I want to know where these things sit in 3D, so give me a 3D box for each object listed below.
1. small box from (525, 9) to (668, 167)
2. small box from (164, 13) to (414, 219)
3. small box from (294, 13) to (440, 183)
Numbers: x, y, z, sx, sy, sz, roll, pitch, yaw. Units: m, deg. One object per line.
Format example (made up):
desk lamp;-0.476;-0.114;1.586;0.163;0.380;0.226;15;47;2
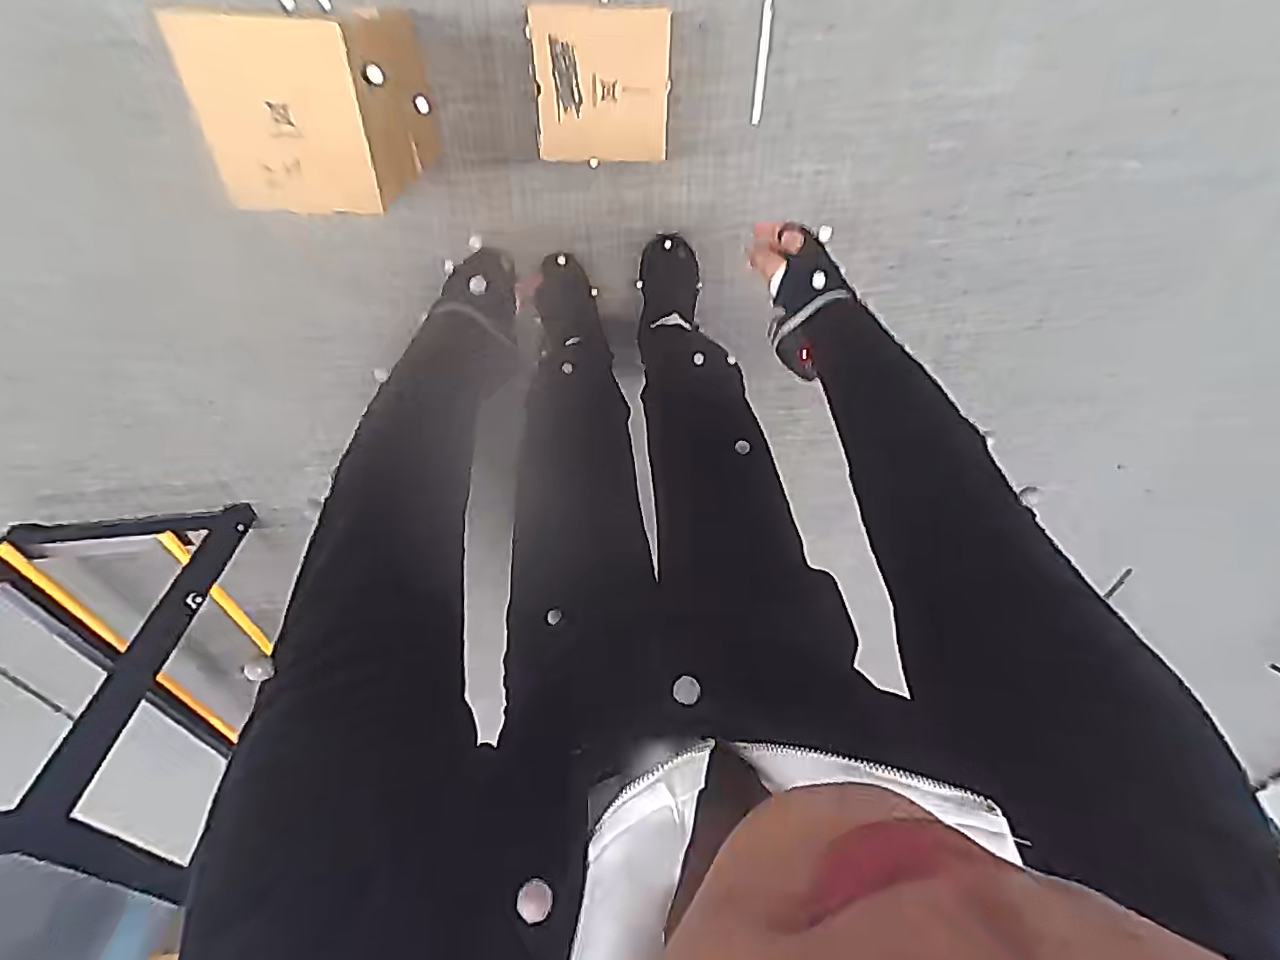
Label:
small box;-0.061;-0.557;0.768;0.179;0.176;0.168;-3;132;-5
small box;-0.380;-0.423;0.628;0.168;0.176;0.179;0;132;-5
small box;-0.394;-0.530;0.754;0.168;0.176;0.179;-5;133;-2
